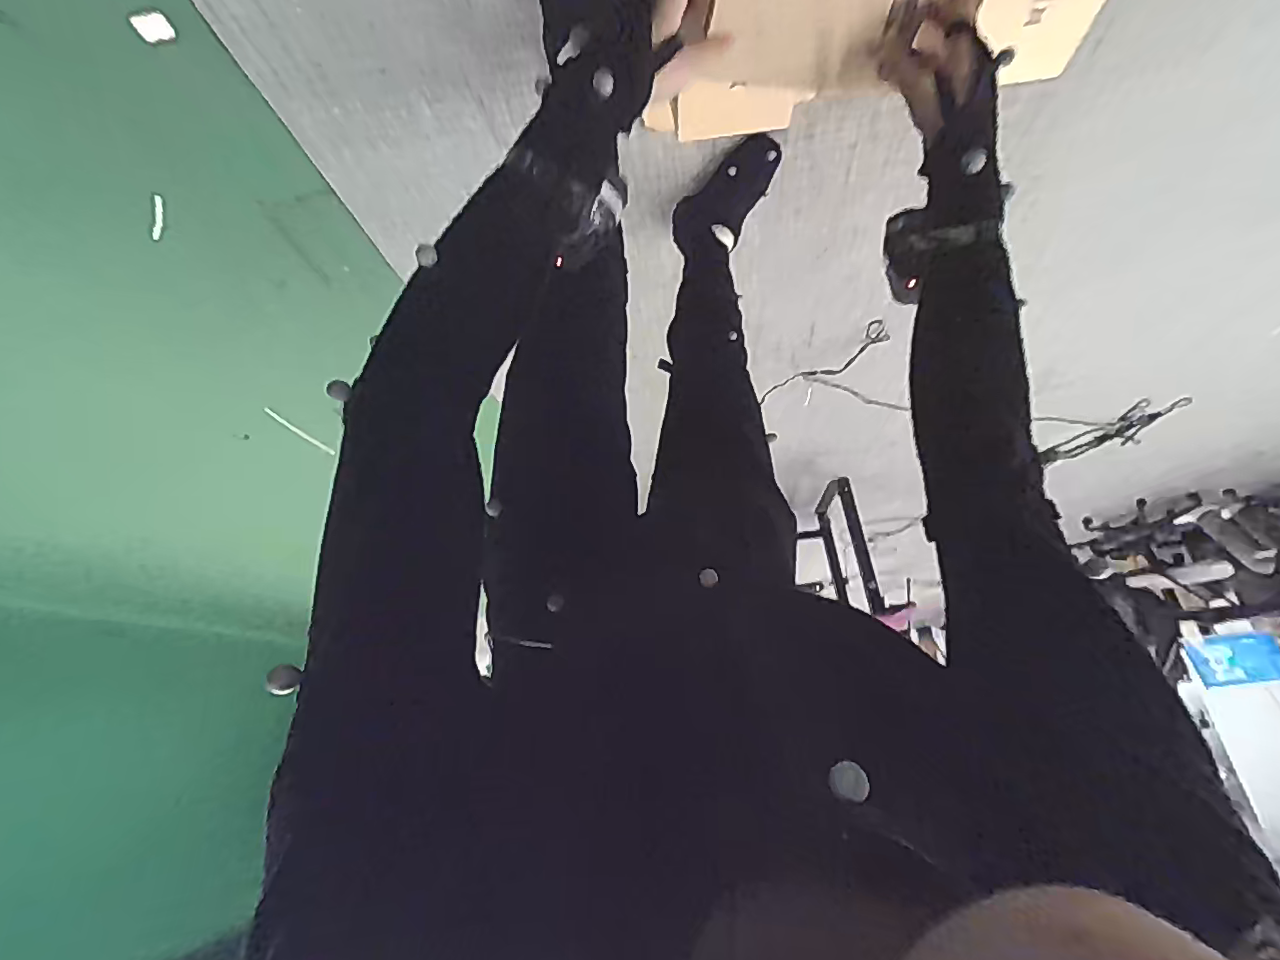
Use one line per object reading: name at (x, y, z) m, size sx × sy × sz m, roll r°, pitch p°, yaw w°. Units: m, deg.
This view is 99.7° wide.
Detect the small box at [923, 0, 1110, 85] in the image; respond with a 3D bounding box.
small box at (0.493, -0.663, 0.698) m, size 0.168 × 0.176 × 0.179 m, roll -7°, pitch 157°, yaw 1°

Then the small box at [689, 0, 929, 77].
small box at (0.131, -0.448, 0.407) m, size 0.179 × 0.176 × 0.168 m, roll -2°, pitch 151°, yaw -12°

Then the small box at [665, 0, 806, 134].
small box at (0.127, -0.611, 0.725) m, size 0.168 × 0.176 × 0.179 m, roll -7°, pitch 158°, yaw 0°
